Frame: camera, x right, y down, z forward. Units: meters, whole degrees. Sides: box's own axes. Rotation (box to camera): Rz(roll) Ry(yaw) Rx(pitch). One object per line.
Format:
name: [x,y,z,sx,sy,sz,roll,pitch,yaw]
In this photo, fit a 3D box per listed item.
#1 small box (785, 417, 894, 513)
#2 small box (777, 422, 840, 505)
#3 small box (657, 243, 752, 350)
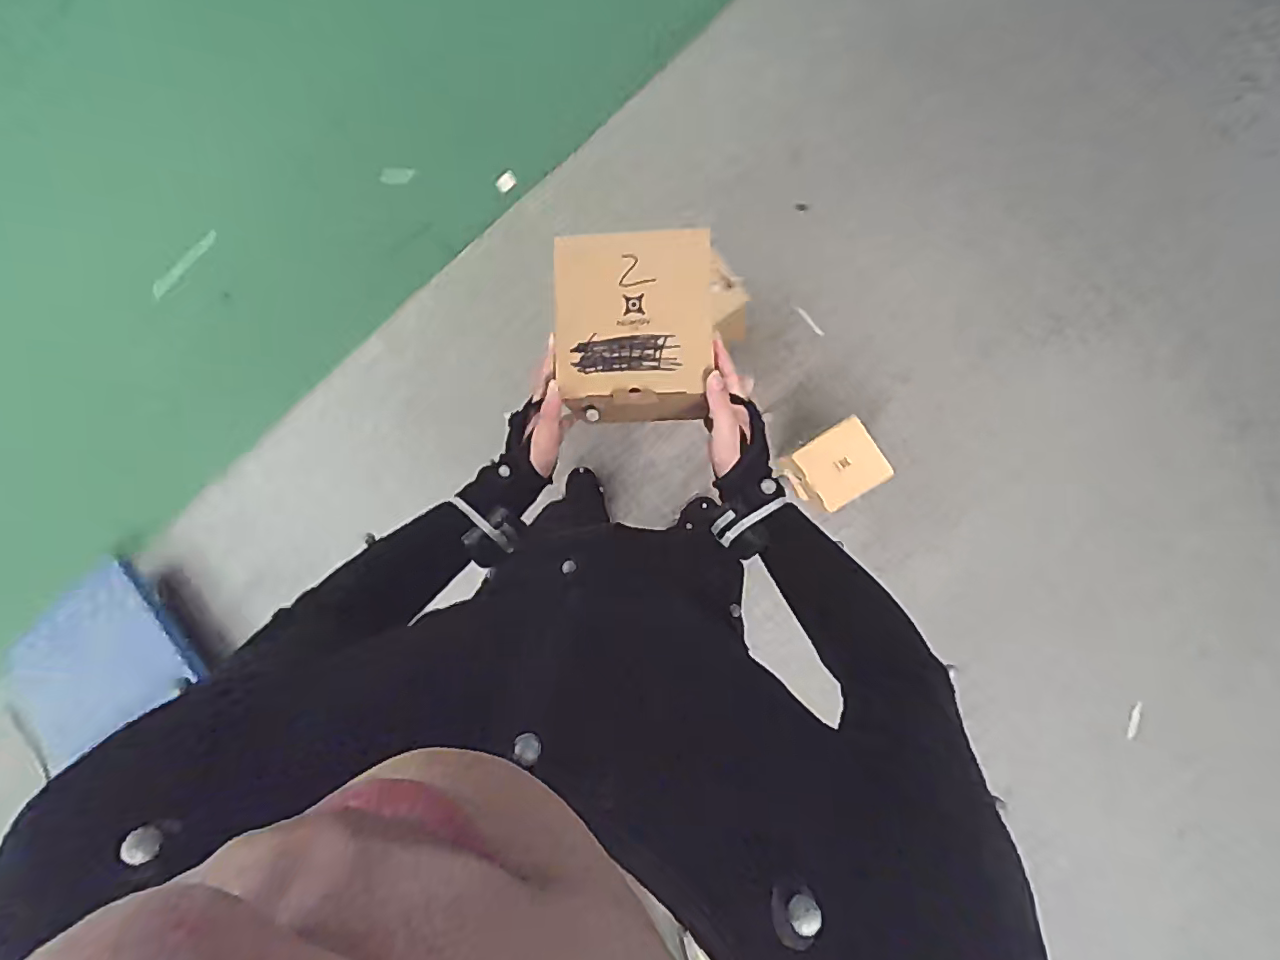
small box: [0.482,-0.038,1.336,0.179,0.176,0.168,-32,87,8]
small box: [0.497,-0.044,1.496,0.179,0.176,0.168,-27,85,8]
small box: [0.167,-0.455,1.373,0.179,0.176,0.168,-33,86,8]
